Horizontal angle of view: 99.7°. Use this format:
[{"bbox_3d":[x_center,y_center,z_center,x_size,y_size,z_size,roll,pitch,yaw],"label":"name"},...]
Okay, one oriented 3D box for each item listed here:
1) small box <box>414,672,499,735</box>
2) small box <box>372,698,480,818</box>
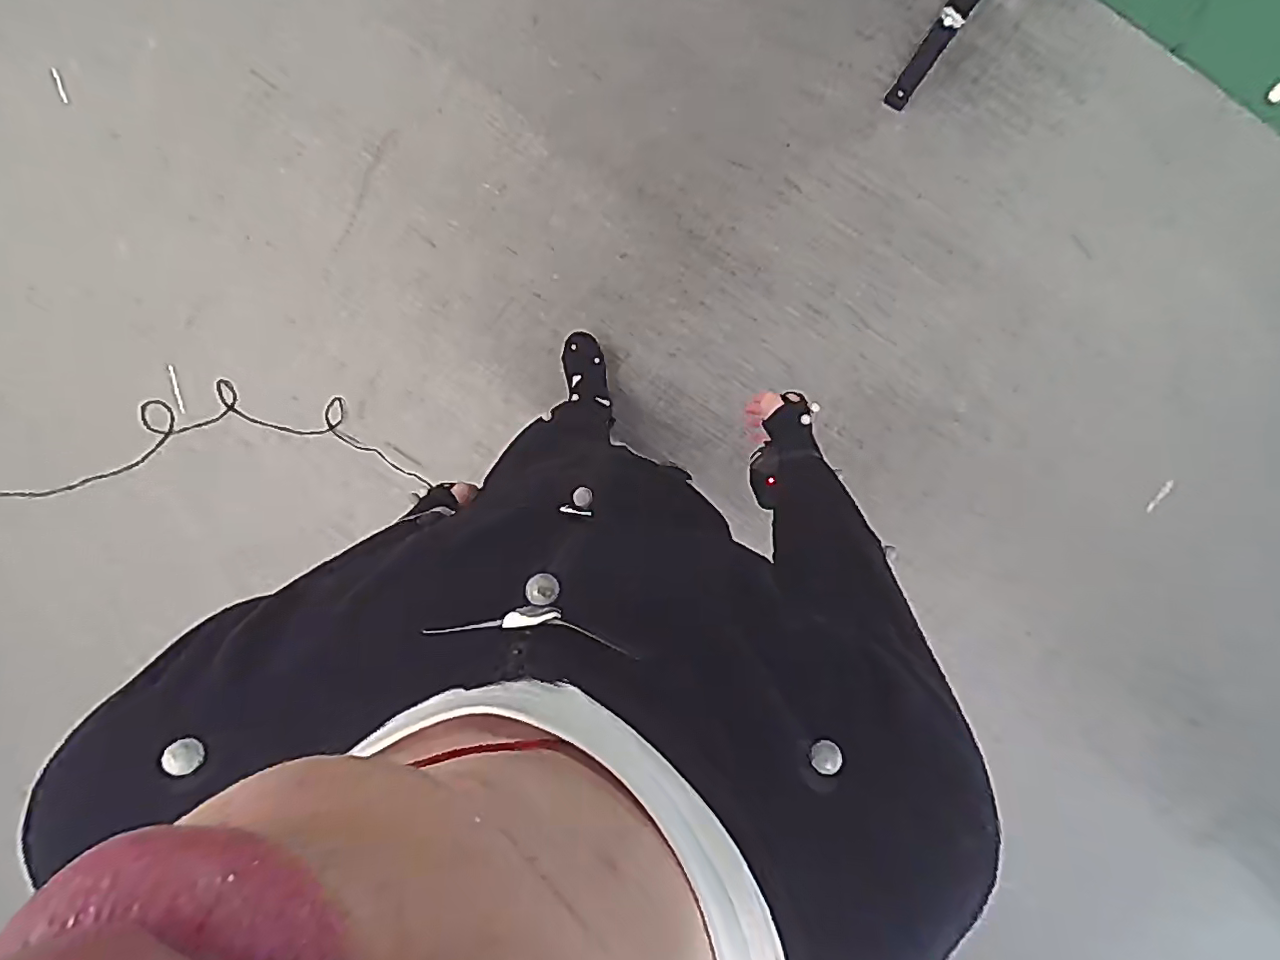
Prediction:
[{"bbox_3d":[-0.543,0.693,1.584,0.179,0.176,0.168,33,96,-3],"label":"small box"},{"bbox_3d":[-0.543,0.711,1.398,0.168,0.176,0.179,37,97,-5],"label":"small box"}]
